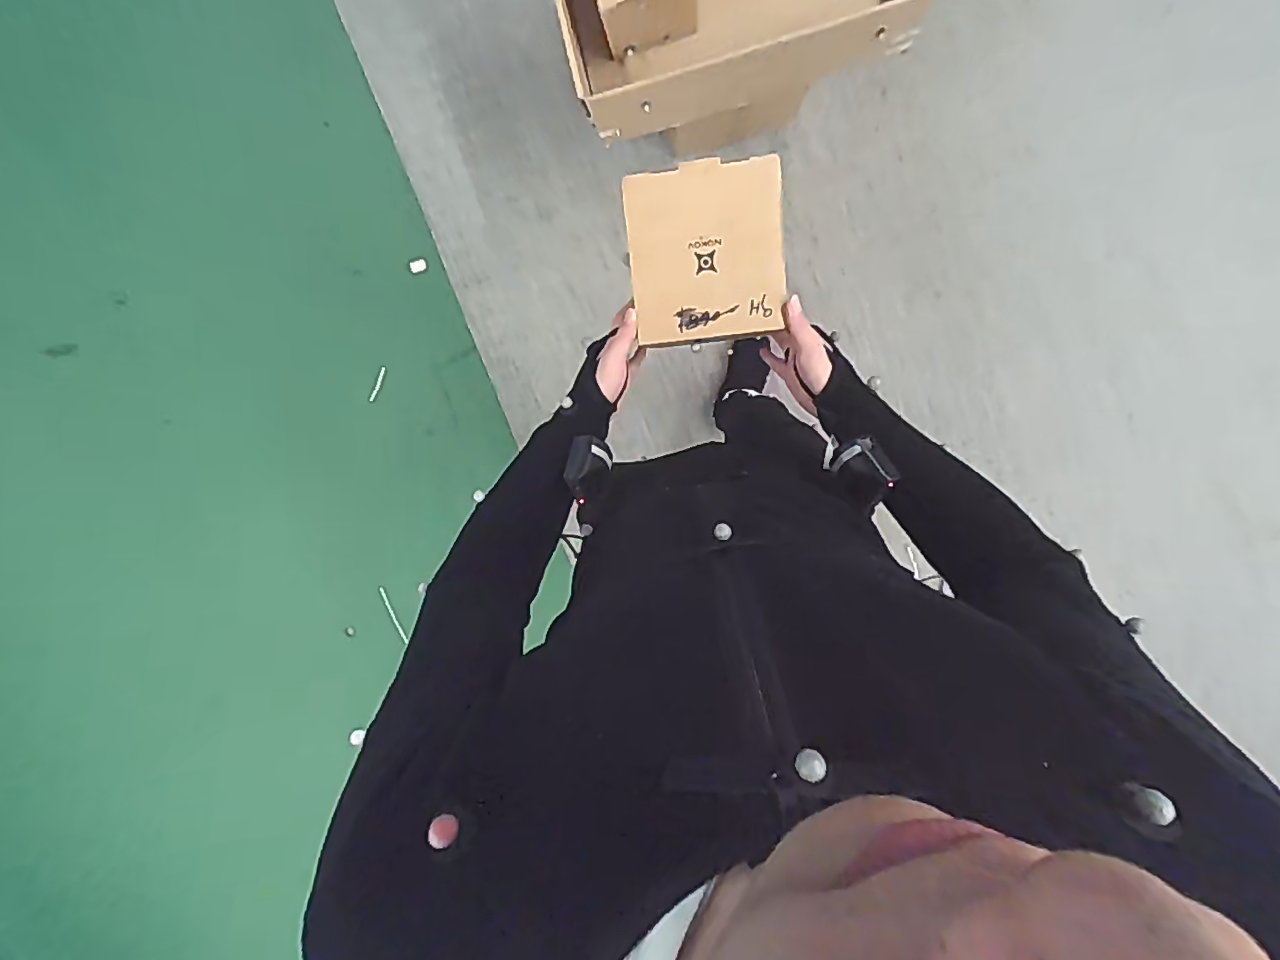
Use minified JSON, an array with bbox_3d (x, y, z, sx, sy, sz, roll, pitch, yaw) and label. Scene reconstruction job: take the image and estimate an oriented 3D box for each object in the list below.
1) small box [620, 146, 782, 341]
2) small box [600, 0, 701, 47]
[{"bbox_3d":[0.075,-0.269,0.658,0.168,0.176,0.179,-5,102,8],"label":"small box"},{"bbox_3d":[0.007,-0.878,0.911,0.168,0.176,0.179,-12,102,10],"label":"small box"}]
